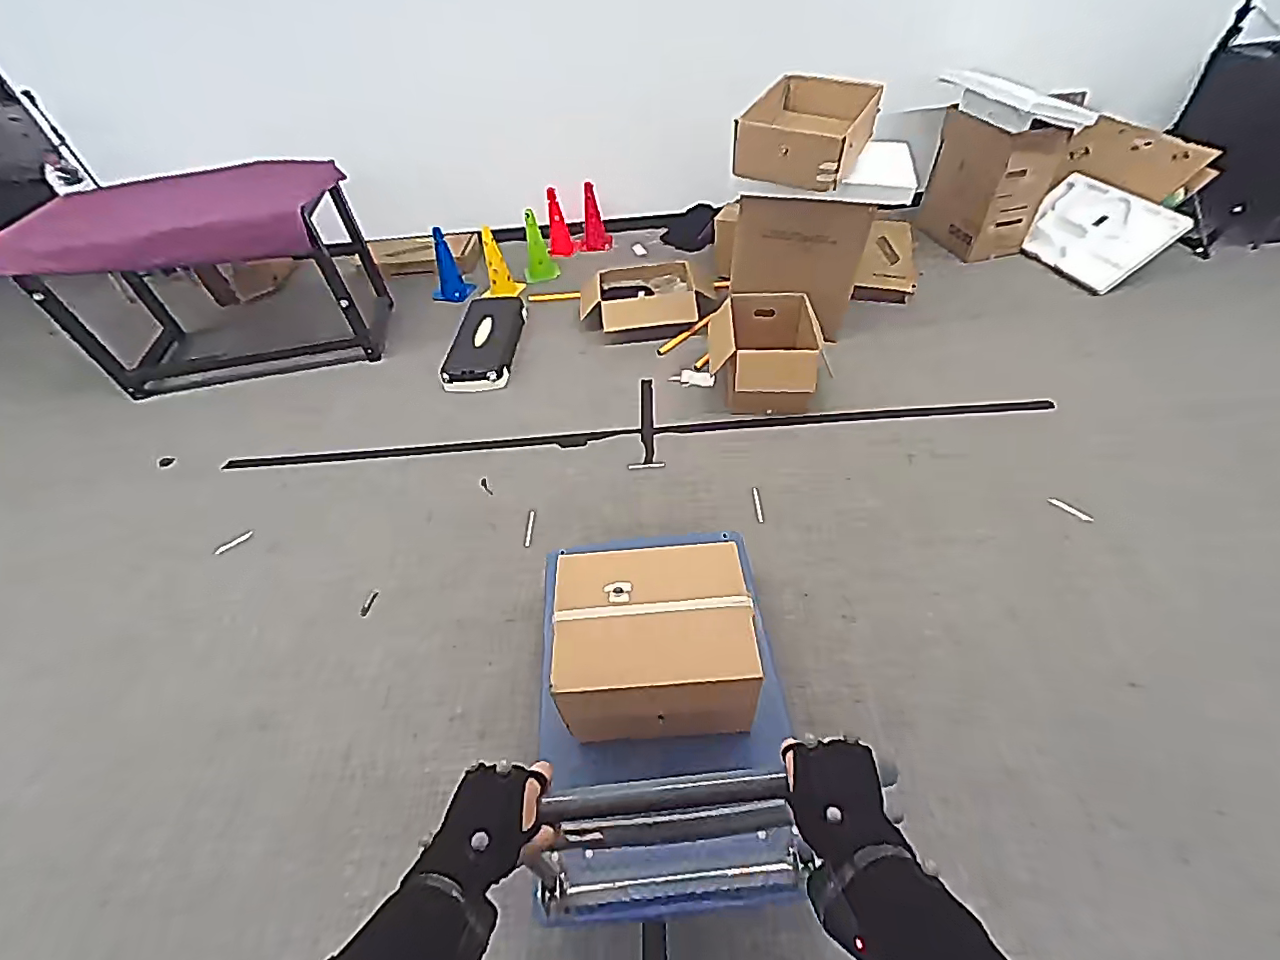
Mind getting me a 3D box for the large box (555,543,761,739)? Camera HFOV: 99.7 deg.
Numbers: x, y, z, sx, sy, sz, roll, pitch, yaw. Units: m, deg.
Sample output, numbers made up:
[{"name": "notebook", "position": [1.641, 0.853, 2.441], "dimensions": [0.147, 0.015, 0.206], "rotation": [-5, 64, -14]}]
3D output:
[{"name": "large box", "position": [0.037, 0.374, 1.240], "dimensions": [0.408, 0.320, 0.320], "rotation": [-6, 47, 1]}]
